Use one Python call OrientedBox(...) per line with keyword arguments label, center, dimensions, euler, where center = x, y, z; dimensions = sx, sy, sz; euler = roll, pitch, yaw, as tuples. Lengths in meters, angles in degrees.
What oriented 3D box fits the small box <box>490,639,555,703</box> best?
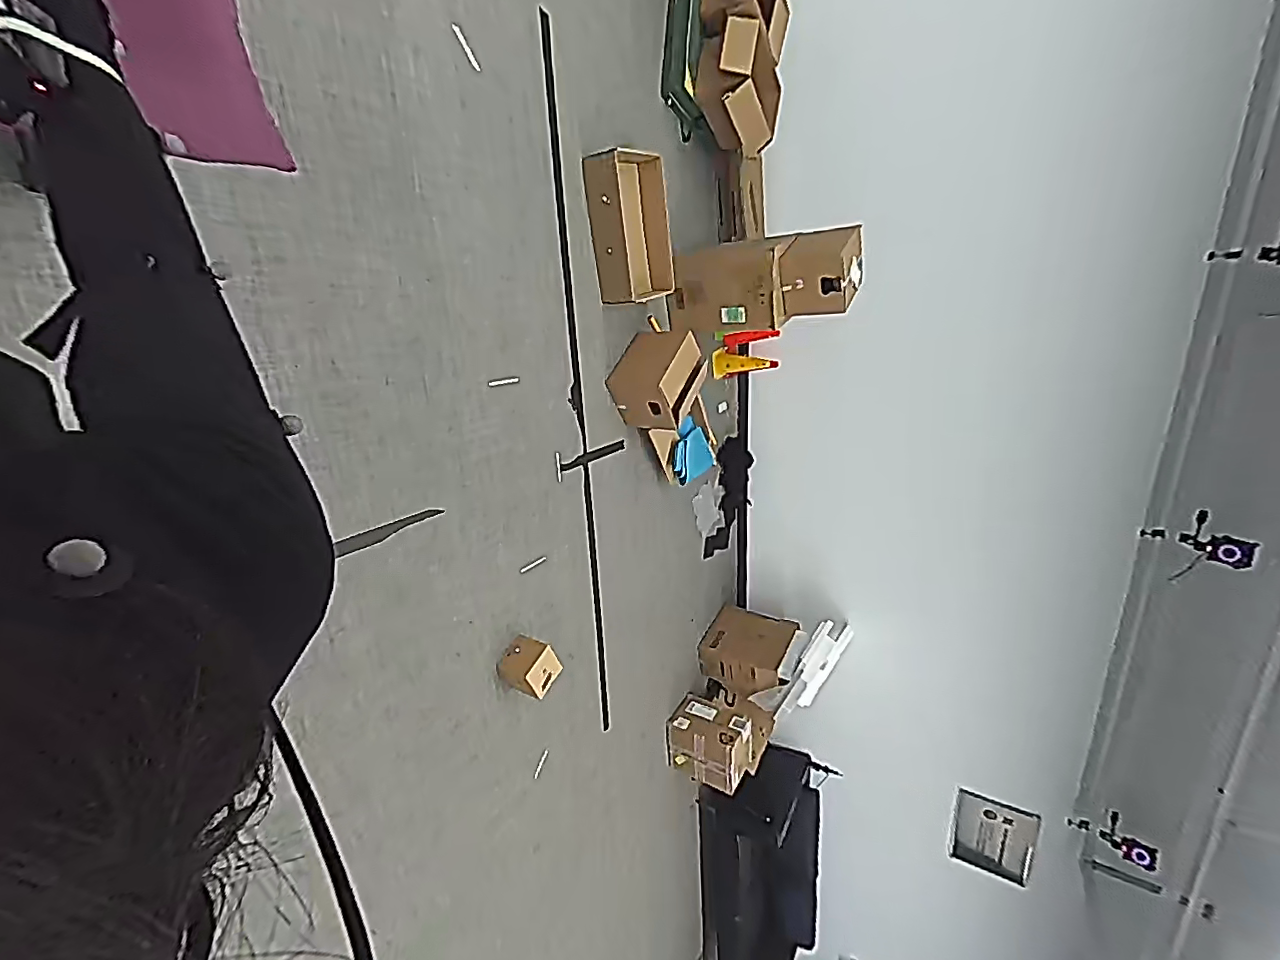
OrientedBox(label="small box", center=(-0.496, 0.799, 2.280), dimensions=(0.168, 0.176, 0.179), euler=(-53, 138, -40))
